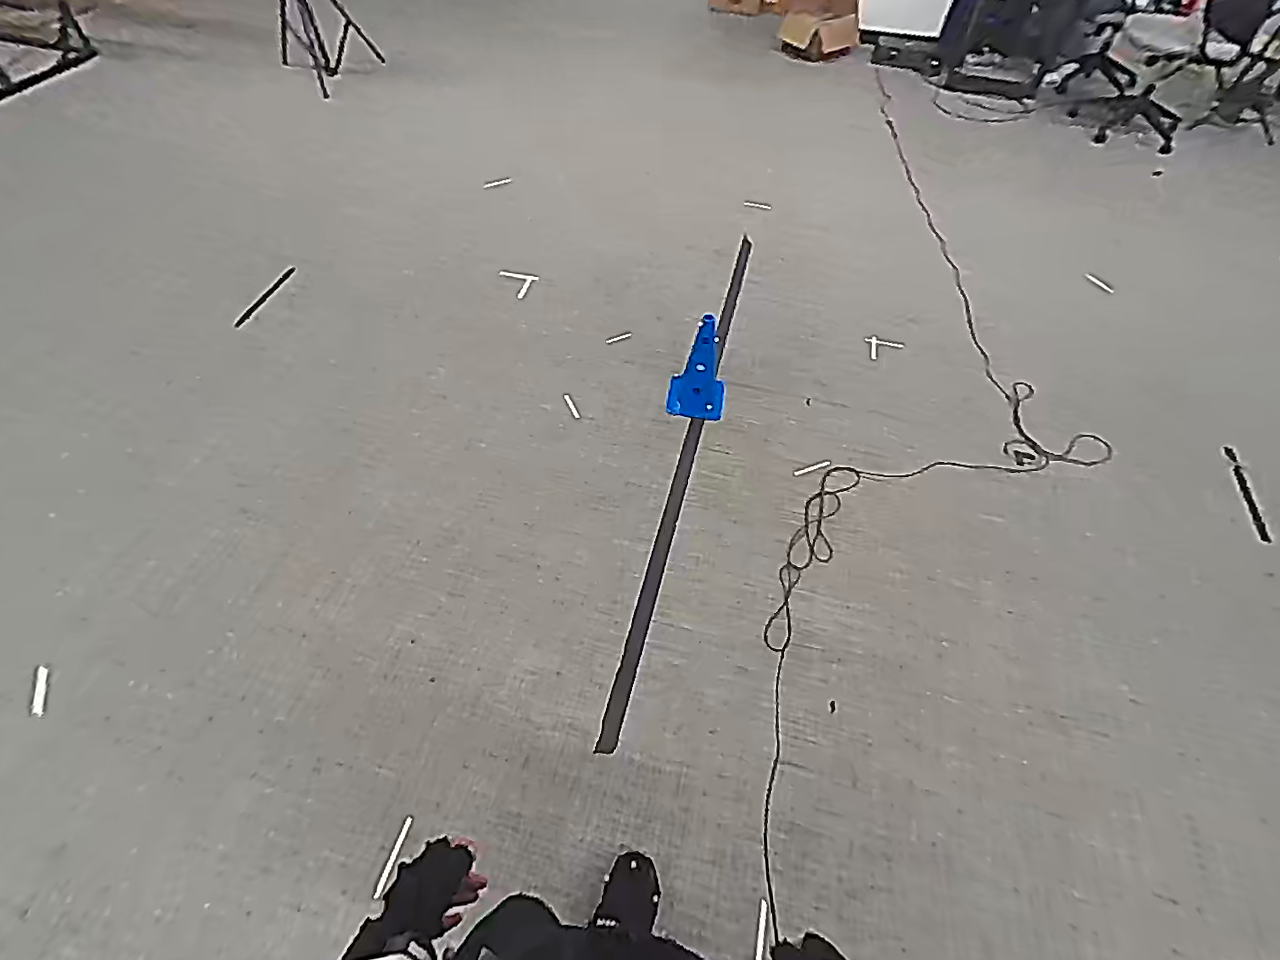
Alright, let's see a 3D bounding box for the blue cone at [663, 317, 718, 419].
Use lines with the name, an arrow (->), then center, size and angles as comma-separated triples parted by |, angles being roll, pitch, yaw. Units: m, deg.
blue cone -> 0.191, -0.393, 1.847 | 0.192, 0.380, 0.193 | 10, 55, 5
